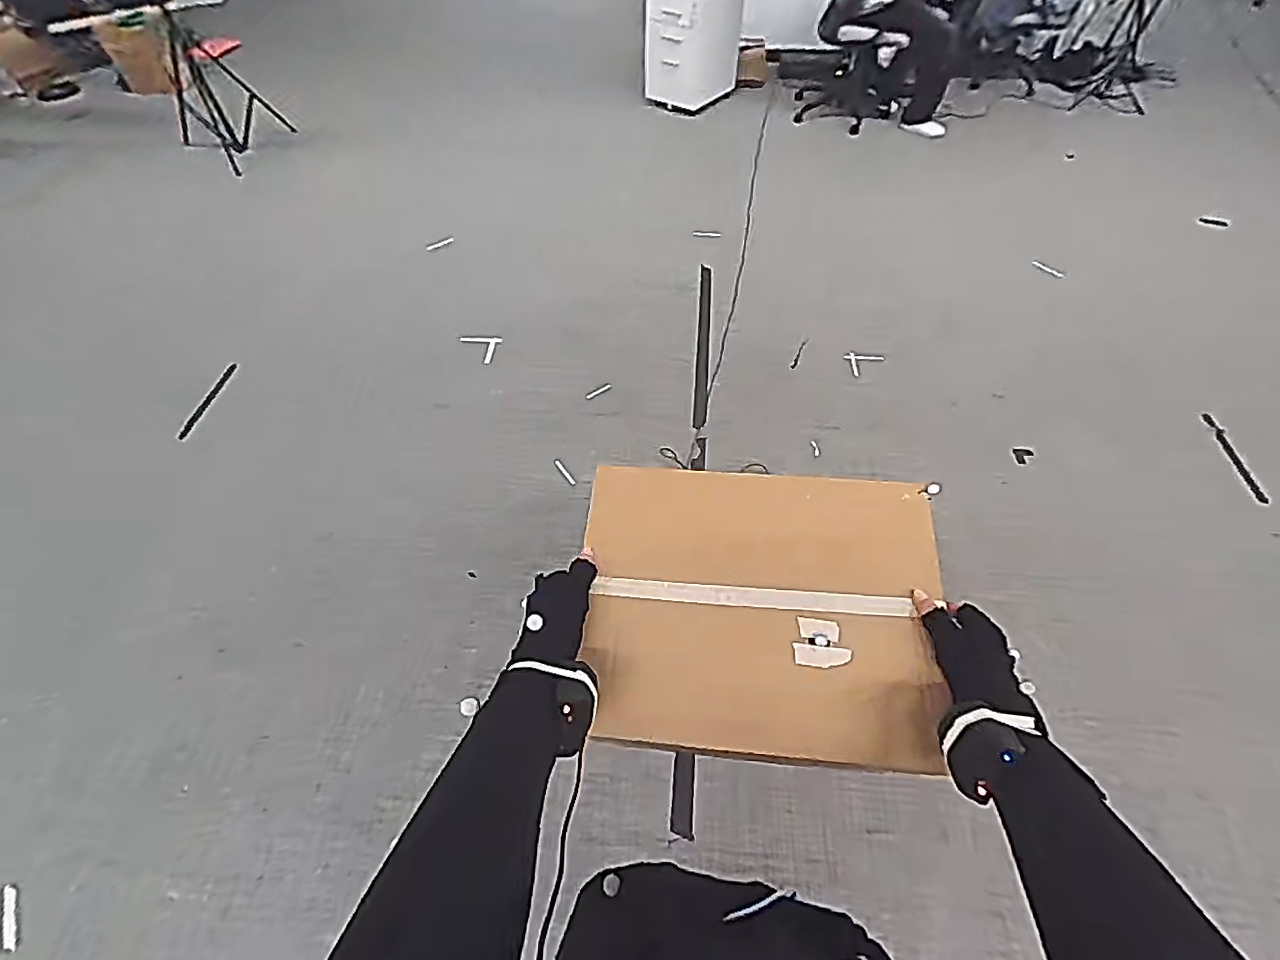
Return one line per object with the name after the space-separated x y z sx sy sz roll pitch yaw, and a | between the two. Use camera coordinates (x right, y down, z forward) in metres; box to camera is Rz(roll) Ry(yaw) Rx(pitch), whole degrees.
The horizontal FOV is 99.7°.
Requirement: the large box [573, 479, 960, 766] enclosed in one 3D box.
0.142 0.211 0.754 0.408 0.320 0.320 3 63 5 | large box
